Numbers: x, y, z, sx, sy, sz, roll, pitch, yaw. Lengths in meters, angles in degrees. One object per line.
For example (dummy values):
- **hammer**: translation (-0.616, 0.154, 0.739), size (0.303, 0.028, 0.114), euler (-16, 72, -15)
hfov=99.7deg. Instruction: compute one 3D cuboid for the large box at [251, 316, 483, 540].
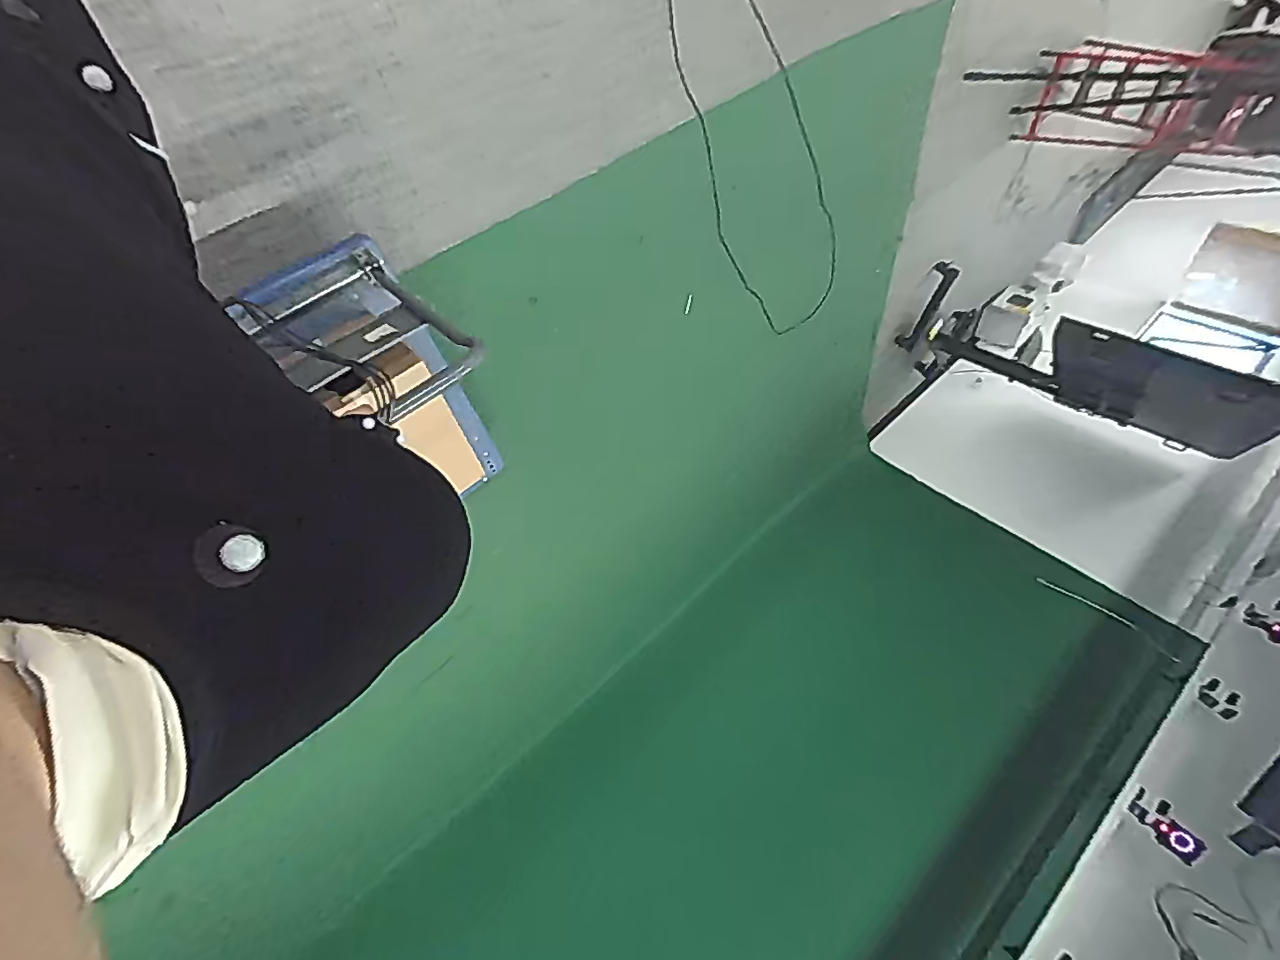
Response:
- **large box**: translation (-0.674, -0.130, 1.377), size (0.320, 0.320, 0.408), euler (-37, 145, -20)
